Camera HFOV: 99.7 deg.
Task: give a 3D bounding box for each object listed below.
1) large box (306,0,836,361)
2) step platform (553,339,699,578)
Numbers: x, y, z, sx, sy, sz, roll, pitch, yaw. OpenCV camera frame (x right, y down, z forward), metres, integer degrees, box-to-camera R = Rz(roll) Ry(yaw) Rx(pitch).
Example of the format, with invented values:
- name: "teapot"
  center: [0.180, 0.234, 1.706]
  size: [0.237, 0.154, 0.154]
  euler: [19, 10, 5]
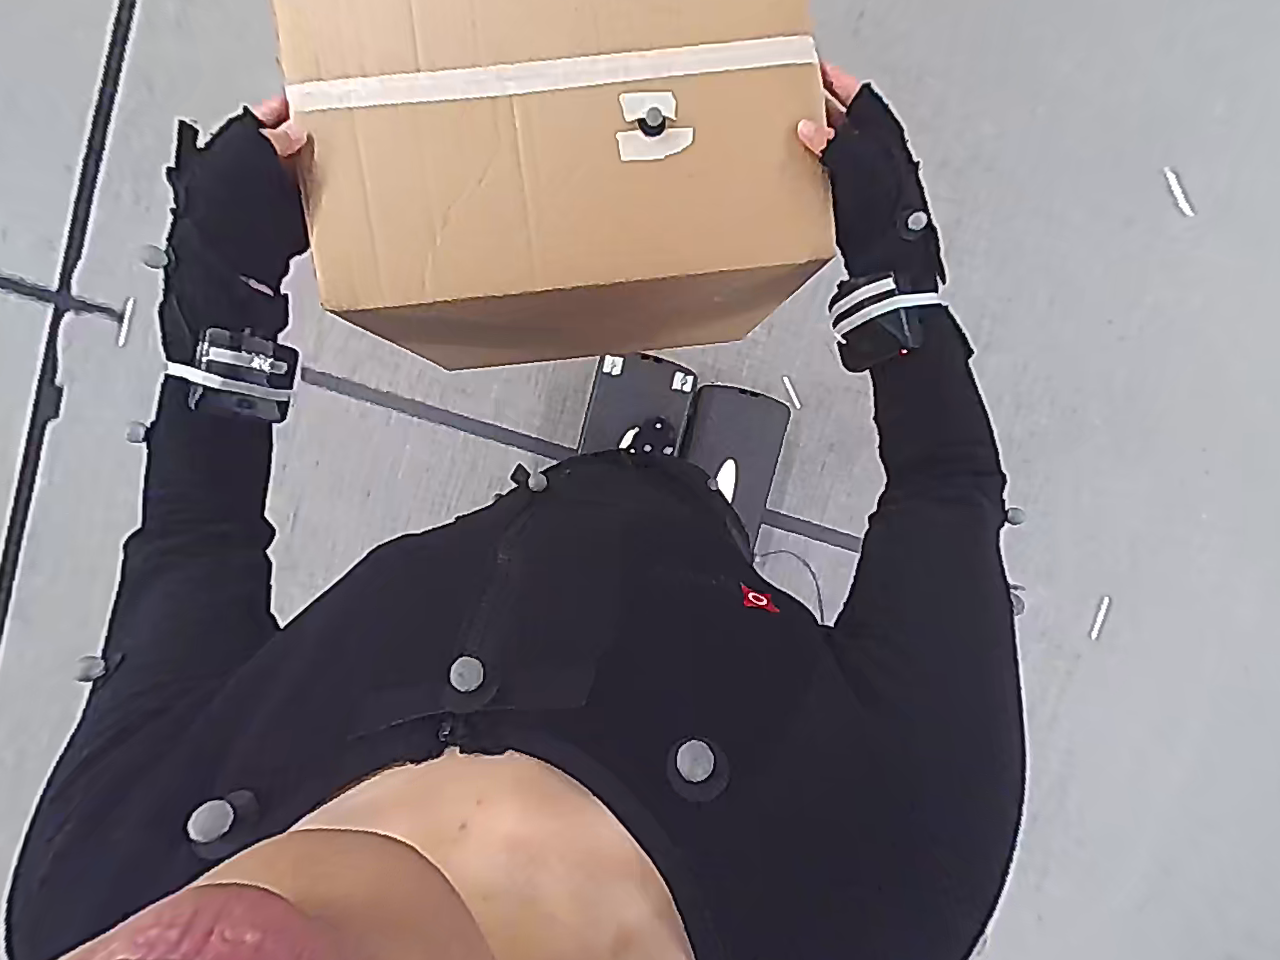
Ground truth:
- name: "large box"
  center: [-0.061, -0.325, 0.576]
  size: [0.408, 0.320, 0.320]
  euler: [-6, 94, -3]
- name: "step platform"
  center: [-0.042, -0.066, 1.571]
  size: [0.286, 0.204, 0.684]
  euler: [14, 92, -2]
